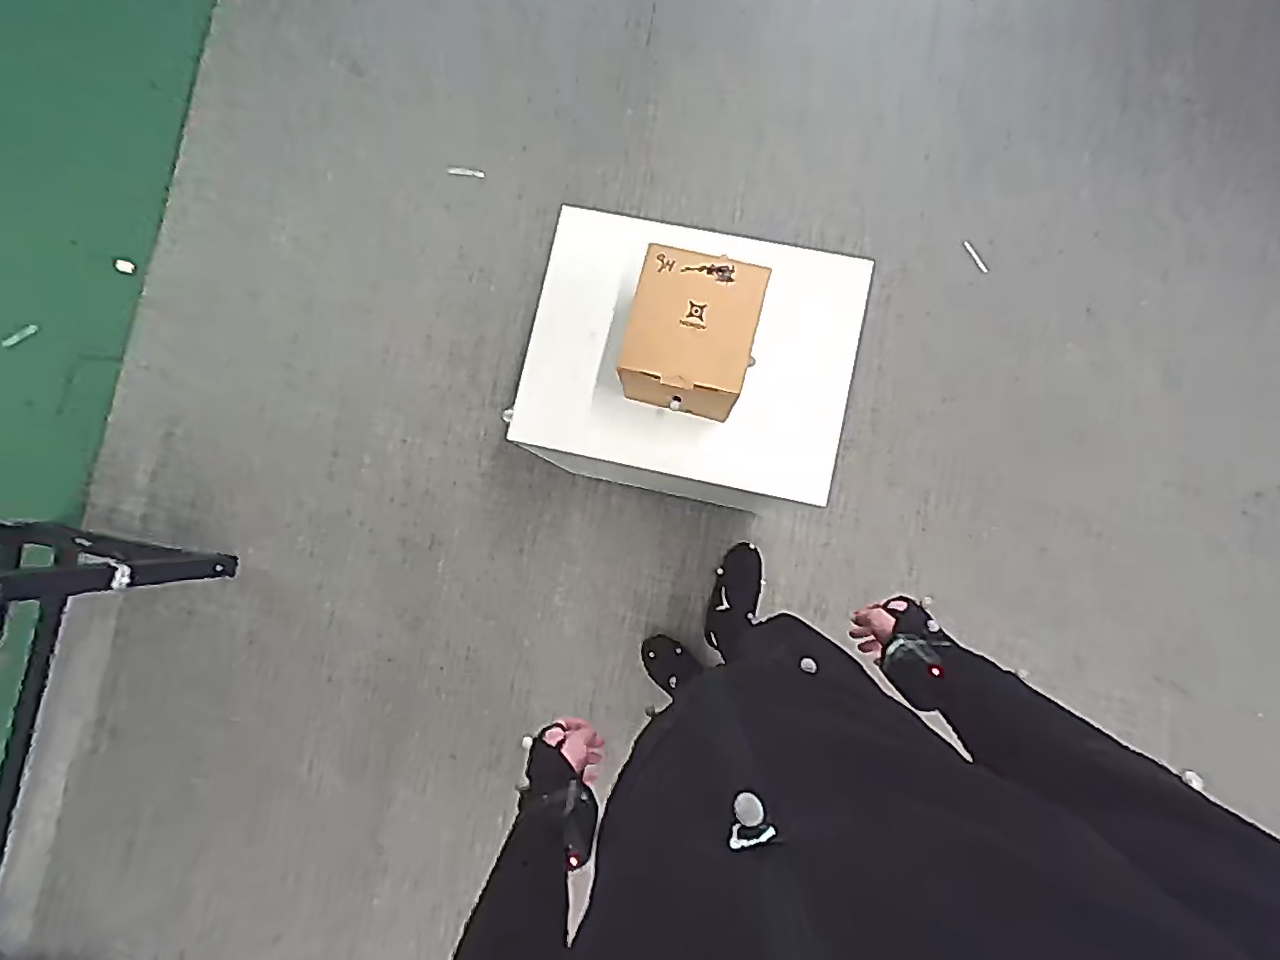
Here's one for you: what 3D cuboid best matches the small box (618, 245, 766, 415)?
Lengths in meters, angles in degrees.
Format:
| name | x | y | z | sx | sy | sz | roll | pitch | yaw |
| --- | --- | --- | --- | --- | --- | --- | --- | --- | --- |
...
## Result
| name | x | y | z | sx | sy | sz | roll | pitch | yaw |
| --- | --- | --- | --- | --- | --- | --- | --- | --- | --- |
| small box | 0.074 | -0.204 | 0.783 | 0.168 | 0.176 | 0.179 | 12 | 85 | 5 |
